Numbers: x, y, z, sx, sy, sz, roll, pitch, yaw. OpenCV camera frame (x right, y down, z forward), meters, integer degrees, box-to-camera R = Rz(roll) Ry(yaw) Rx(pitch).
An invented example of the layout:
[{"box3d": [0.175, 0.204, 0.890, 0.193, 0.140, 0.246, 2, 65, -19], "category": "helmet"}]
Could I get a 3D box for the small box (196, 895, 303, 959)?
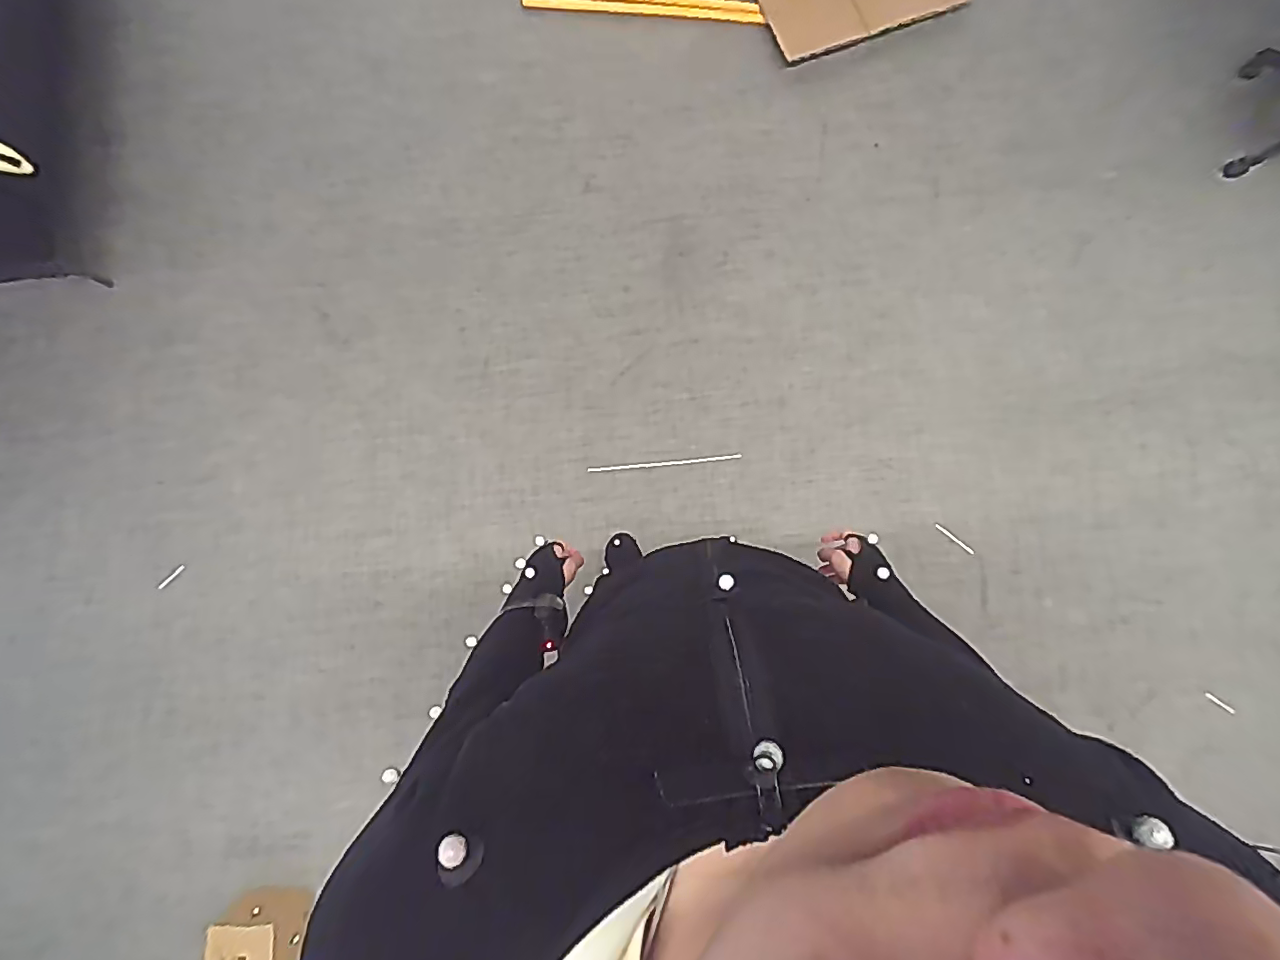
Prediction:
[{"box3d": [-1.028, 1.238, 1.434, 0.179, 0.176, 0.168, -1, 83, 0], "category": "small box"}]
